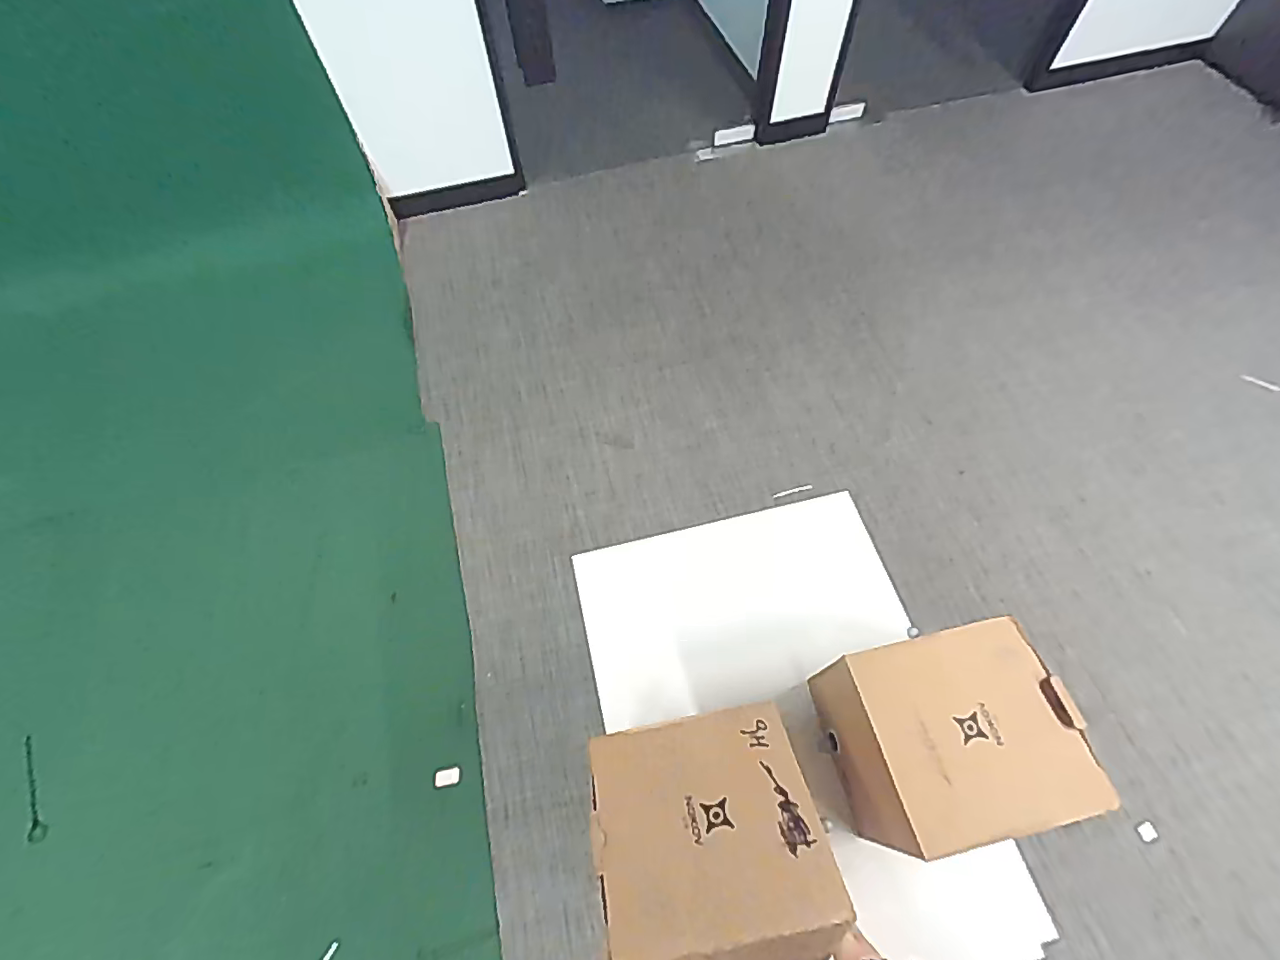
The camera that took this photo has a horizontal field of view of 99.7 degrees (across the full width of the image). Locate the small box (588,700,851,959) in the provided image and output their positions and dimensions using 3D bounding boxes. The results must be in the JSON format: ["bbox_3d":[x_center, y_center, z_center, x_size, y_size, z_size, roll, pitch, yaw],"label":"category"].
[{"bbox_3d":[0.058,0.327,0.479,0.179,0.176,0.168,-10,41,-5],"label":"small box"}]

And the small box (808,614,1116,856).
[{"bbox_3d":[0.294,0.249,0.543,0.179,0.176,0.168,-12,63,-3],"label":"small box"}]
